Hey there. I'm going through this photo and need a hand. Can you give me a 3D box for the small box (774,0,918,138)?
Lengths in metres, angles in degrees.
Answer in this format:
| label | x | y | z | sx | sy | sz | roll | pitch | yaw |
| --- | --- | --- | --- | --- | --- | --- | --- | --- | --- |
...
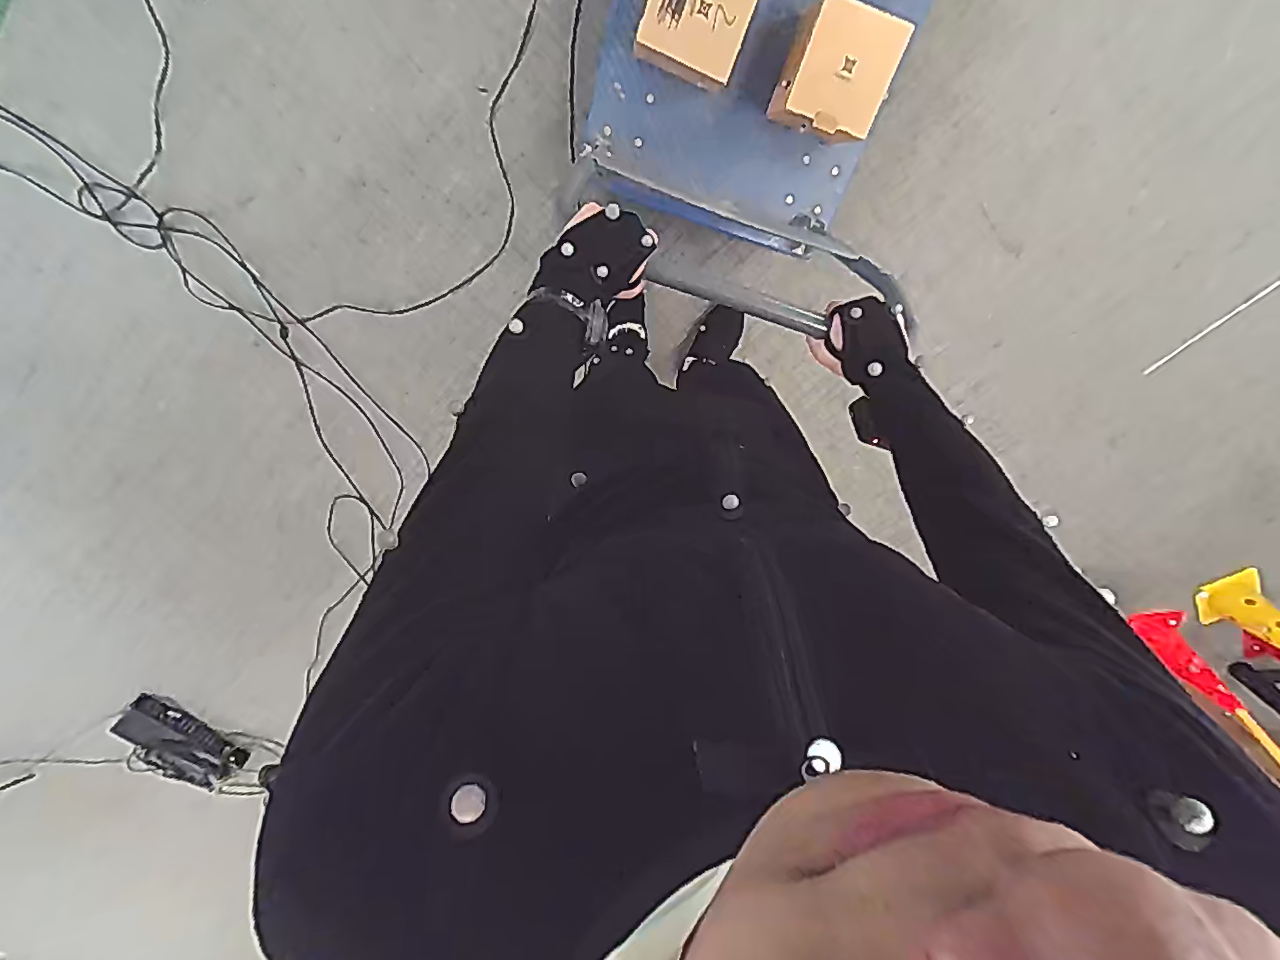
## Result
| label | x | y | z | sx | sy | sz | roll | pitch | yaw |
| --- | --- | --- | --- | --- | --- | --- | --- | --- | --- |
| small box | 0.367 | -0.763 | 1.007 | 0.168 | 0.176 | 0.179 | 15 | 121 | -9 |
